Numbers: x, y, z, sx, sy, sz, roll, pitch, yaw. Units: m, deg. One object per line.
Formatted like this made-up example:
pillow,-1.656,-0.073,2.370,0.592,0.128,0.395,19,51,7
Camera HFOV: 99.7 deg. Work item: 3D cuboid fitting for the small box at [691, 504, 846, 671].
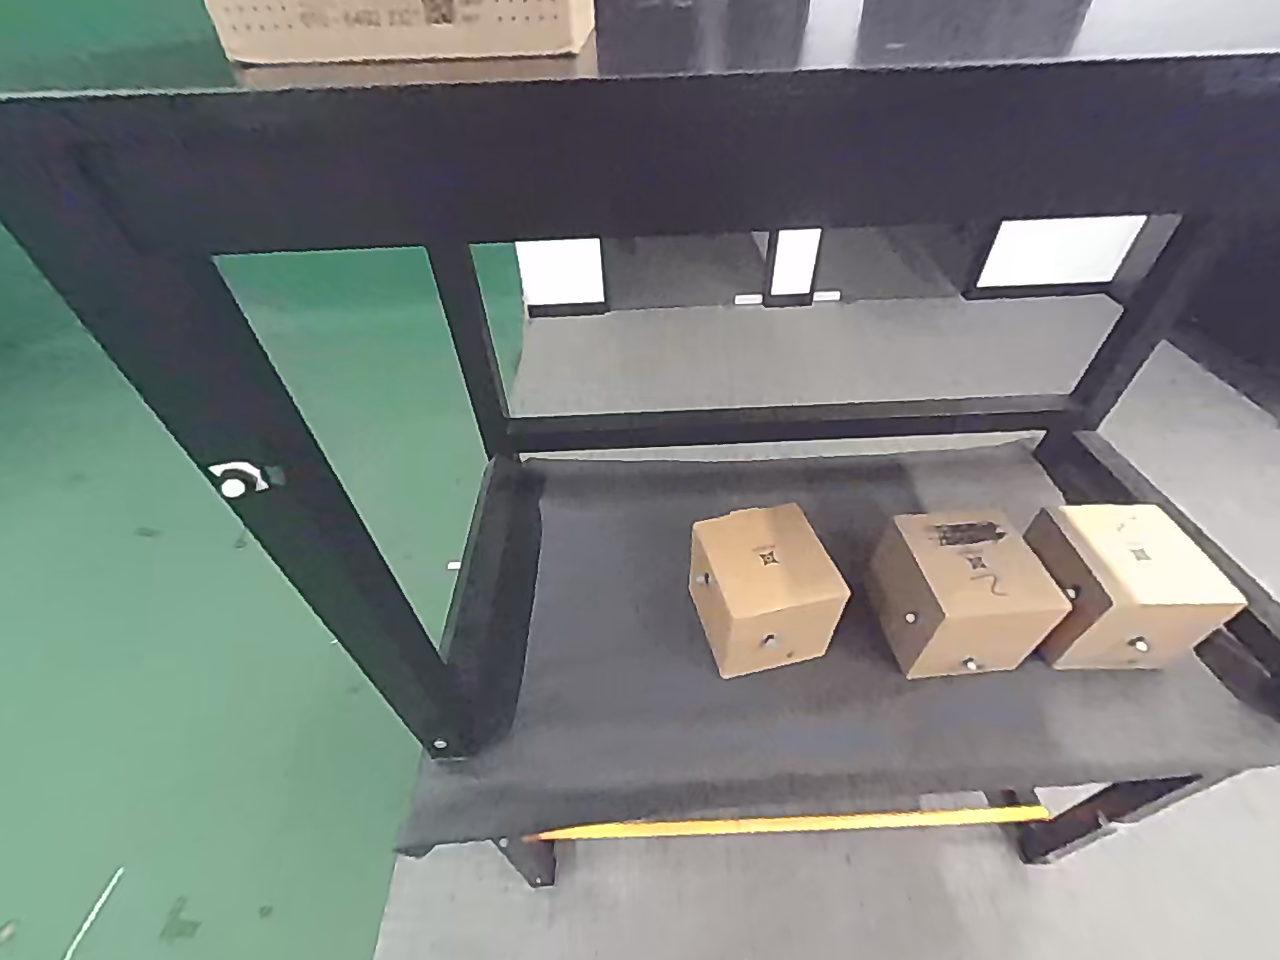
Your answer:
small box,0.179,0.166,0.813,0.168,0.176,0.179,-10,43,-8

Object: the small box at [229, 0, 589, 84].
small box,-0.116,-0.313,0.268,0.168,0.176,0.179,-2,44,1
